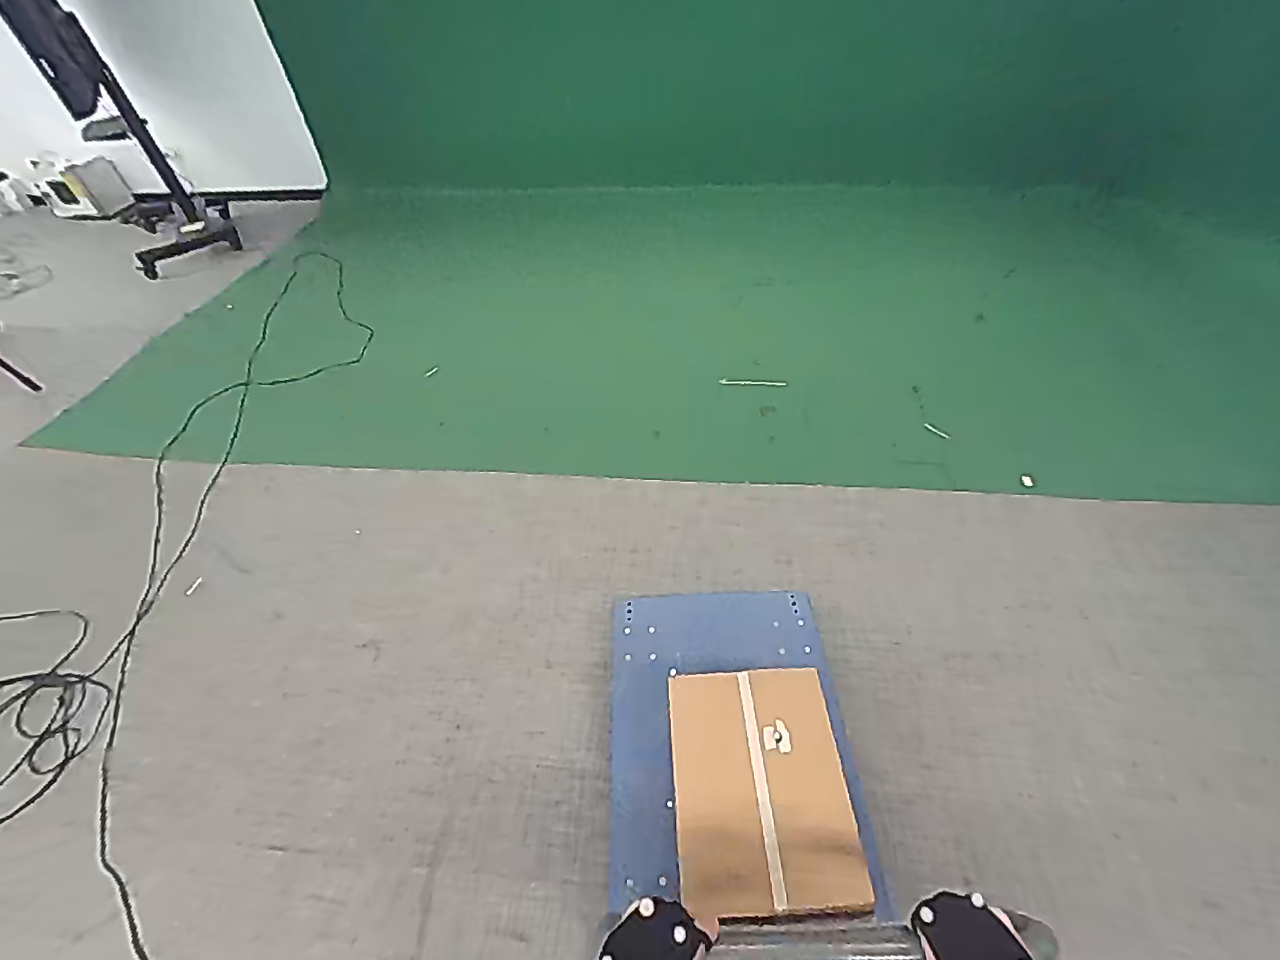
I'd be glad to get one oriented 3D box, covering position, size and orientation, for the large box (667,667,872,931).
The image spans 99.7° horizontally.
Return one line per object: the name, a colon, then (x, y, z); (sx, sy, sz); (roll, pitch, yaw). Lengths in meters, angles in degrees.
large box: (0.229, 0.651, 1.113); (0.320, 0.320, 0.408); (-3, 46, 2)
